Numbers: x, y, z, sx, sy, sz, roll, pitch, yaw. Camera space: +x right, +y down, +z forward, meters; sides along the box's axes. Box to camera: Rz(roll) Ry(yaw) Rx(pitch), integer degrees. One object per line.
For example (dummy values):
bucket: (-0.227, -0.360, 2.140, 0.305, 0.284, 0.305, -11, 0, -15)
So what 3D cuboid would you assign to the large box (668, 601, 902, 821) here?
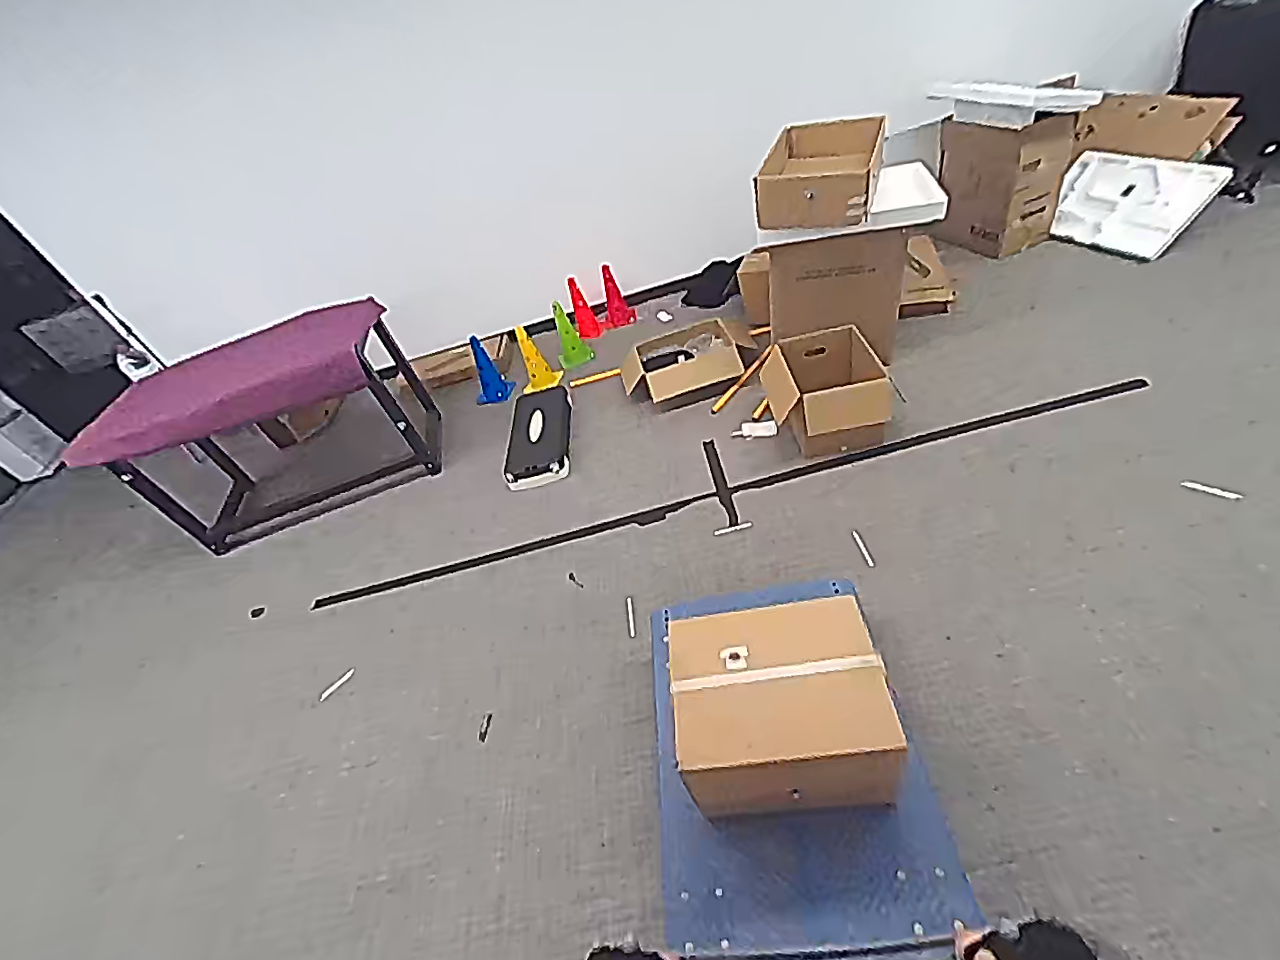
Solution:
large box: (0.297, 0.505, 1.169, 0.408, 0.320, 0.320, -12, 41, 9)
